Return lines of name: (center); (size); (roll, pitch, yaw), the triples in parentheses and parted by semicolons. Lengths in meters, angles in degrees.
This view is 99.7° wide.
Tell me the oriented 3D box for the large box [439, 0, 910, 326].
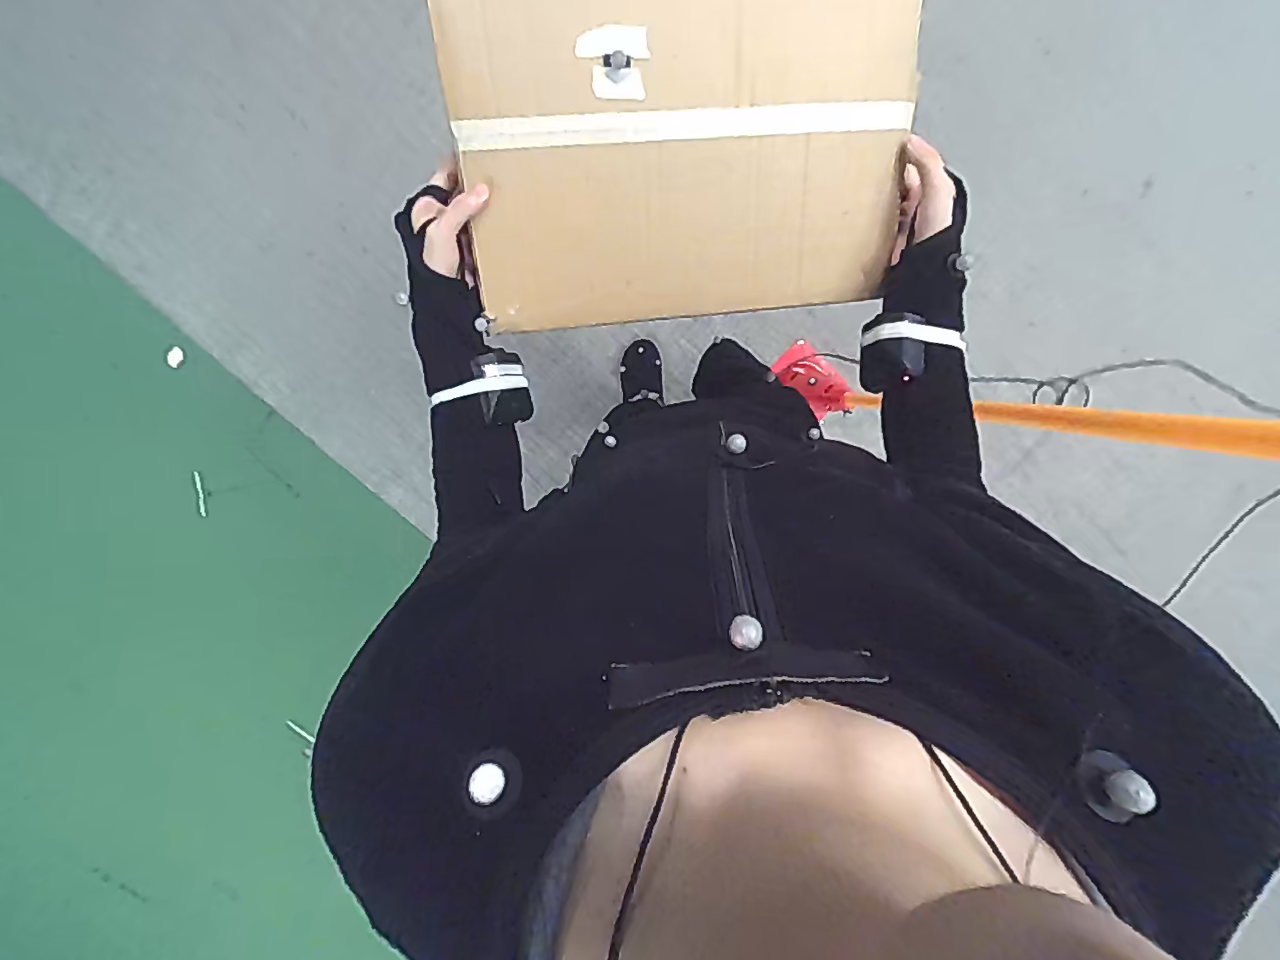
large box: (0.021, -0.370, 0.616); (0.408, 0.320, 0.320); (-7, 113, -8)
